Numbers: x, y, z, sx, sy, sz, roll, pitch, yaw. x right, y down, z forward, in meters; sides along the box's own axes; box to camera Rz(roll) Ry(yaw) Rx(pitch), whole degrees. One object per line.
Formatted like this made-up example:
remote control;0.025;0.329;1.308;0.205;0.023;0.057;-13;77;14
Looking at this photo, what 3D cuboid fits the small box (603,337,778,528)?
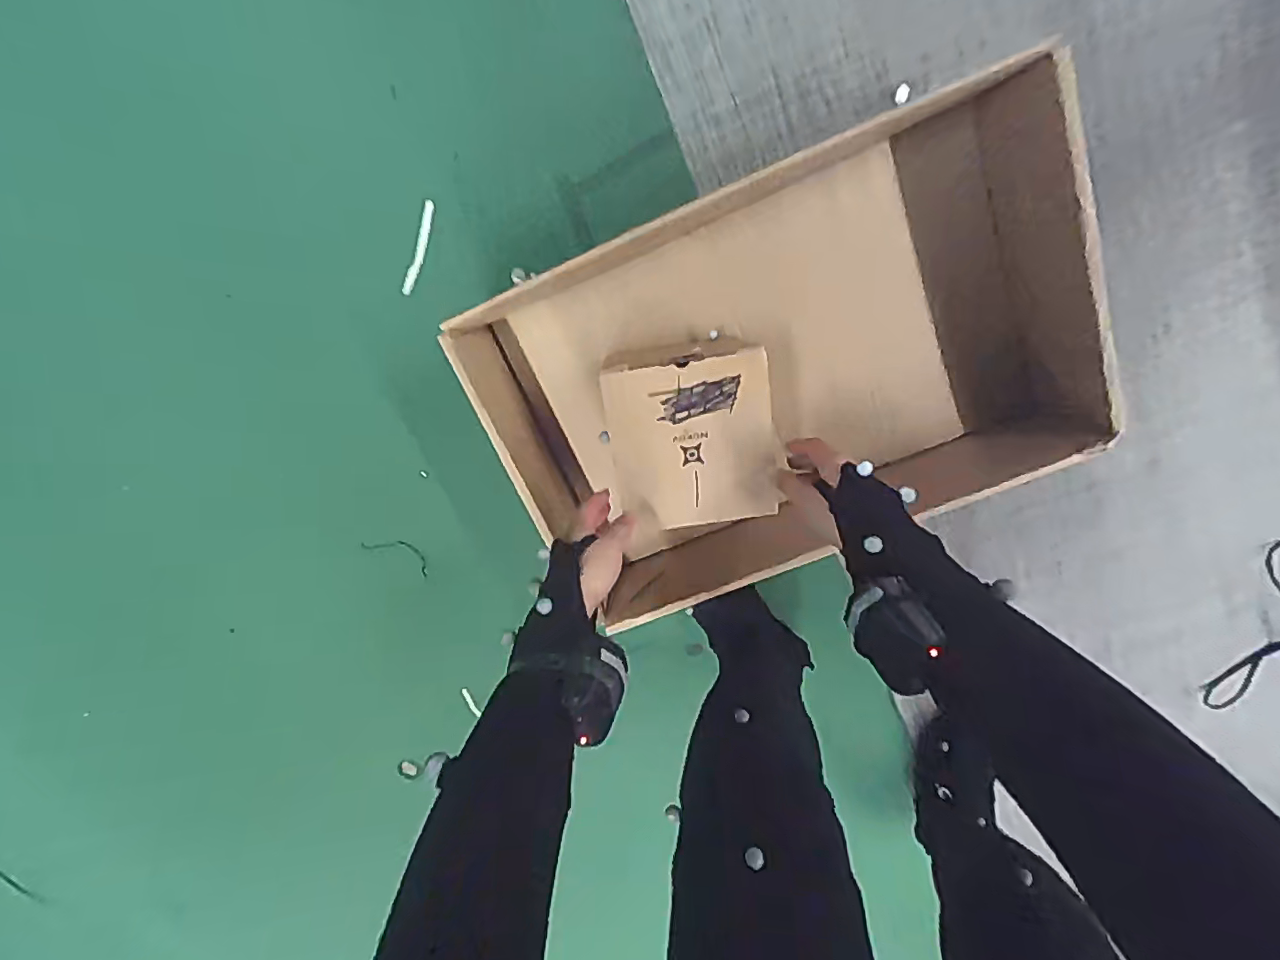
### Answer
small box;0.053;-0.065;0.621;0.168;0.176;0.179;-8;109;2
